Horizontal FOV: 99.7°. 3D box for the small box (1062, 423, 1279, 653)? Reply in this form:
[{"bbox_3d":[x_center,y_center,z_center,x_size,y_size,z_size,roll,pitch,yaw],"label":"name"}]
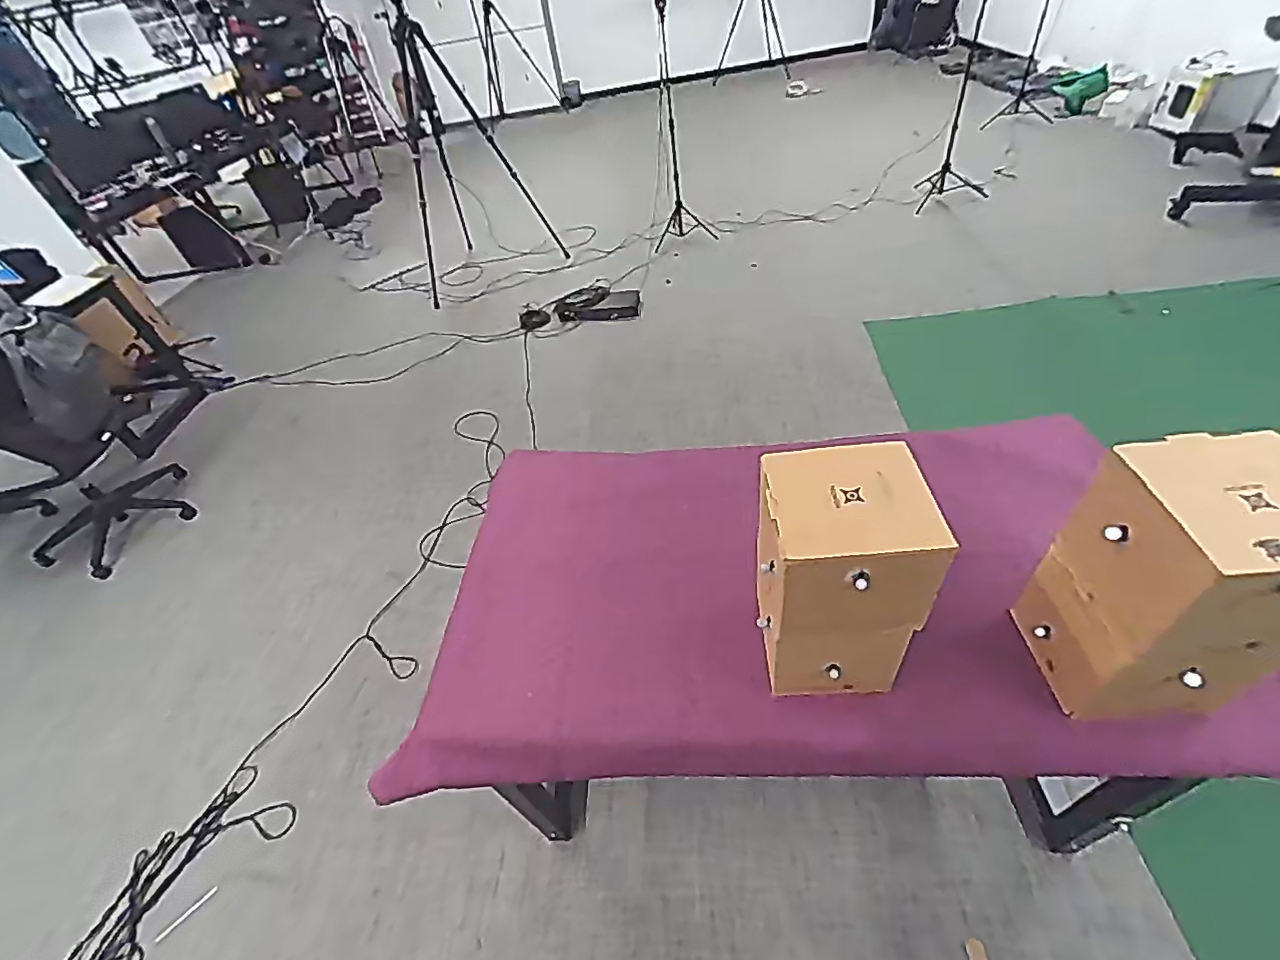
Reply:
[{"bbox_3d":[0.611,0.065,0.588,0.168,0.176,0.179,-8,44,9],"label":"small box"}]

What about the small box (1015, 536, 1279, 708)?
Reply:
[{"bbox_3d":[0.637,0.180,0.702,0.179,0.176,0.168,-8,45,8],"label":"small box"}]

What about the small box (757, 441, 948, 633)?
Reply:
[{"bbox_3d":[0.244,0.075,0.666,0.179,0.176,0.168,-6,45,8],"label":"small box"}]

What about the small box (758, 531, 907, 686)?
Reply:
[{"bbox_3d":[0.266,0.186,0.784,0.168,0.176,0.179,-5,44,8],"label":"small box"}]
